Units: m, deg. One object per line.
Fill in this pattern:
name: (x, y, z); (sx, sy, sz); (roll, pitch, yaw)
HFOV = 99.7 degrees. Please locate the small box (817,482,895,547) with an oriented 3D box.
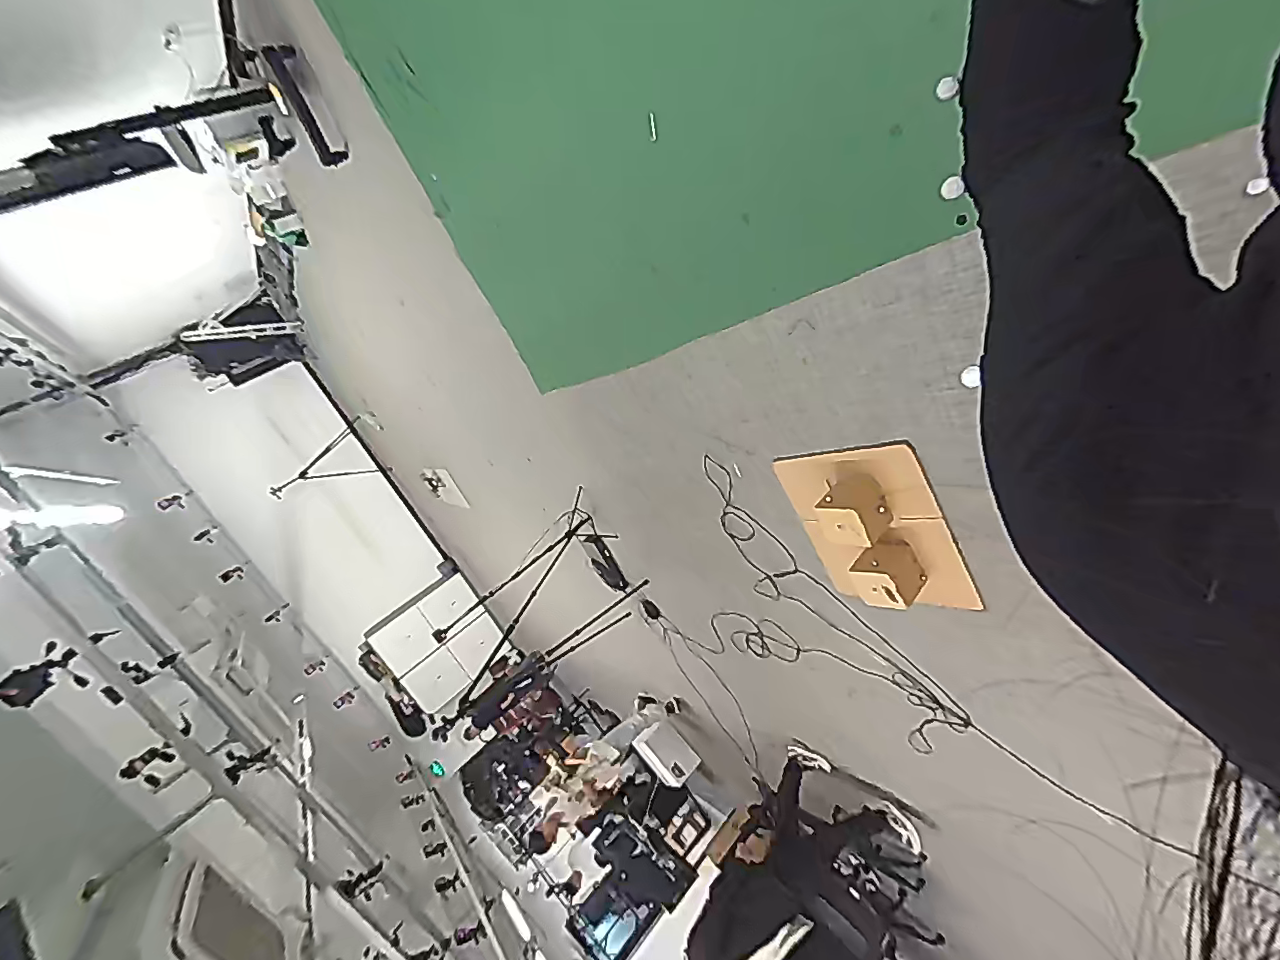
small box: (0.778, 0.119, 1.944); (0.179, 0.176, 0.168); (-2, 123, 56)

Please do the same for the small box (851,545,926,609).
small box: (0.924, 0.352, 1.995); (0.168, 0.176, 0.179); (58, 152, -12)
